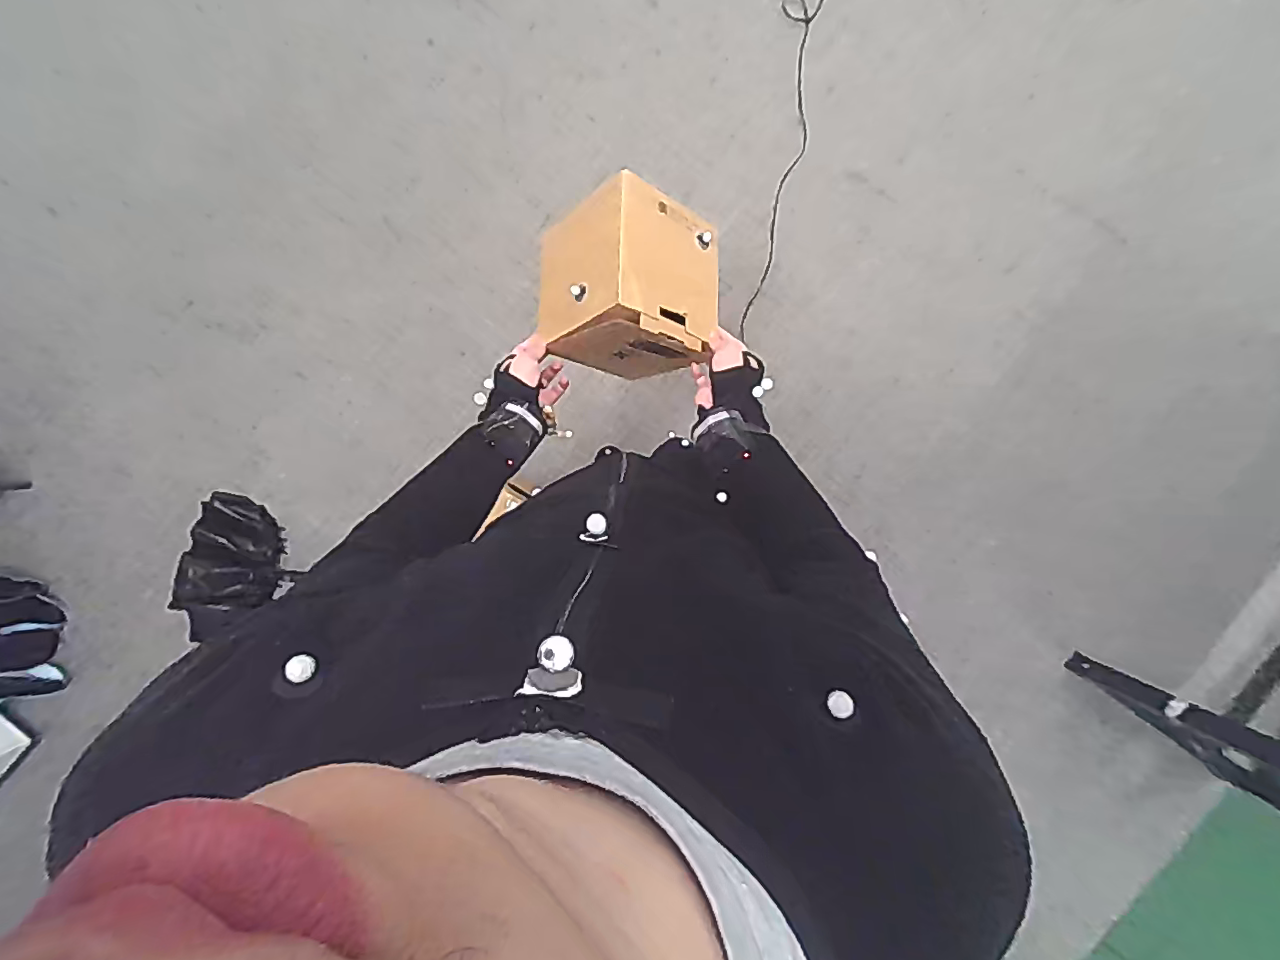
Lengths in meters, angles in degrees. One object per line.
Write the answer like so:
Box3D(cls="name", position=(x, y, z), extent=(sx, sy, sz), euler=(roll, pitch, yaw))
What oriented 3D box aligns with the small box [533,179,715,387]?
Box3D(cls="small box", position=(-0.022, -0.242, 0.699), extent=(0.168, 0.179, 0.176), euler=(13, 73, -40))
